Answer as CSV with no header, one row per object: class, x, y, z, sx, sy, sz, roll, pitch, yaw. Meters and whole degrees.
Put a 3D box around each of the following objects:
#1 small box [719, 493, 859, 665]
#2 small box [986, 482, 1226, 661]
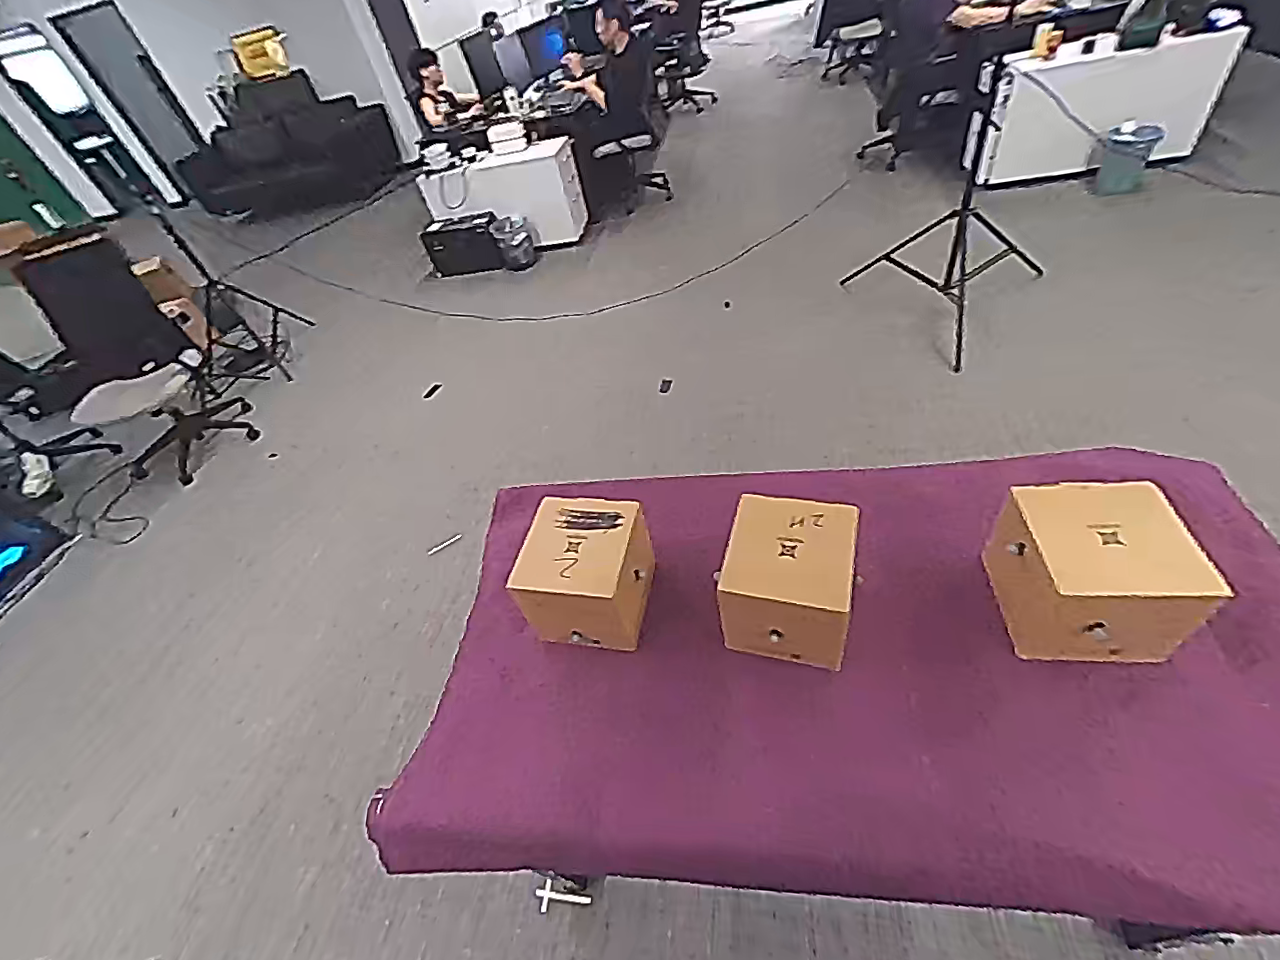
small box,0.222,0.146,0.796,0.168,0.176,0.179,7,49,20
small box,0.592,0.125,0.720,0.168,0.176,0.179,-3,45,14
